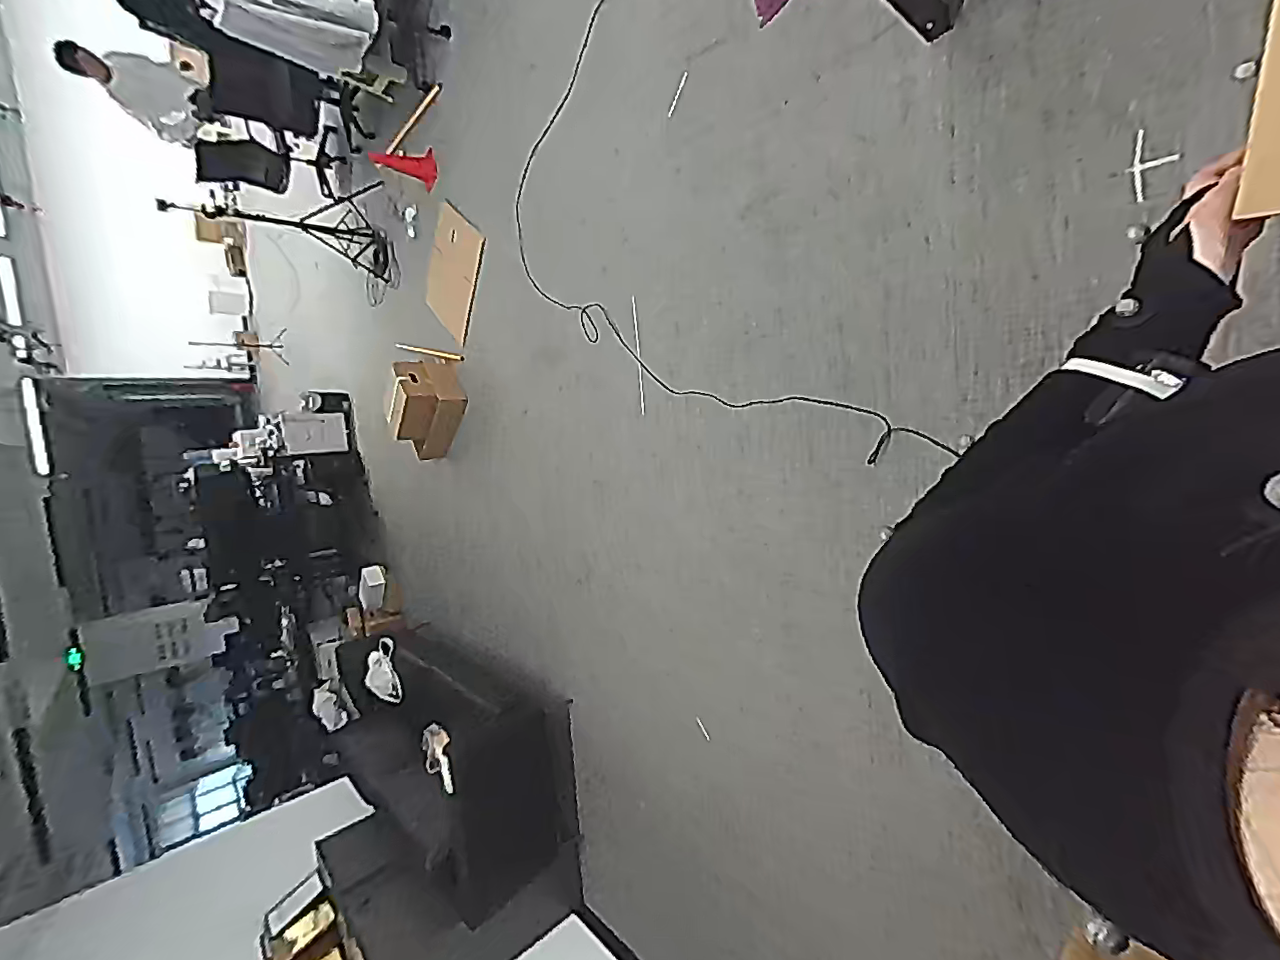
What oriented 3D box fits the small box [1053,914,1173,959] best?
[{"bbox_3d":[0.728,0.810,0.810,0.179,0.176,0.168,14,108,48],"label":"small box"}]
